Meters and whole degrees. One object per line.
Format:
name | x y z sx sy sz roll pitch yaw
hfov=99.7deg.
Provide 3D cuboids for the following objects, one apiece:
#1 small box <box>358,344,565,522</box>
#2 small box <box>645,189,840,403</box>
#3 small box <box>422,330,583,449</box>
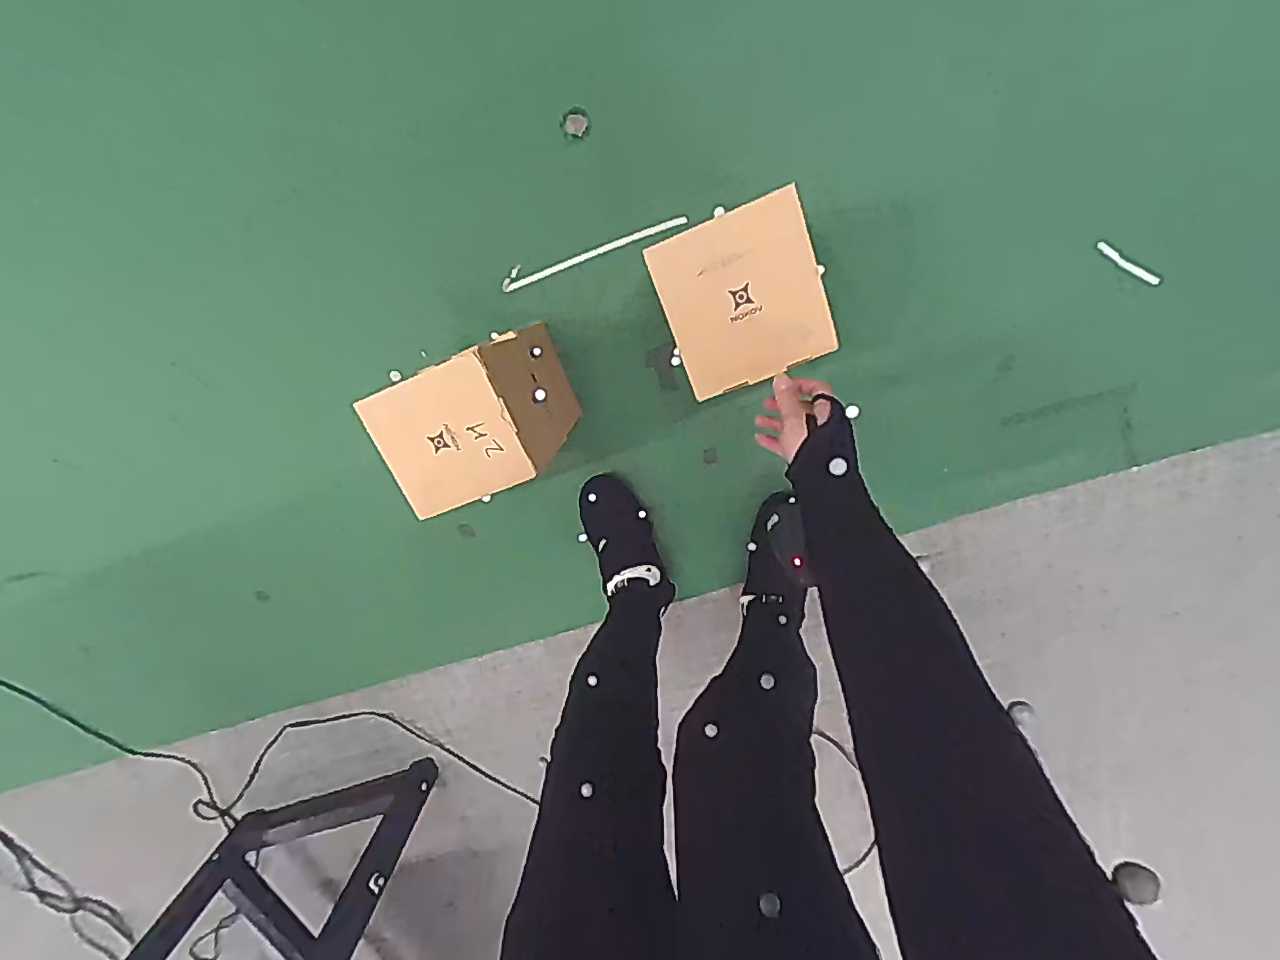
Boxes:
small box | -0.222 -0.070 0.725 0.179 0.176 0.168 -20 107 12
small box | 0.116 -0.215 0.646 0.168 0.176 0.179 -20 107 10
small box | -0.209 -0.129 0.878 0.168 0.176 0.179 -20 106 12
